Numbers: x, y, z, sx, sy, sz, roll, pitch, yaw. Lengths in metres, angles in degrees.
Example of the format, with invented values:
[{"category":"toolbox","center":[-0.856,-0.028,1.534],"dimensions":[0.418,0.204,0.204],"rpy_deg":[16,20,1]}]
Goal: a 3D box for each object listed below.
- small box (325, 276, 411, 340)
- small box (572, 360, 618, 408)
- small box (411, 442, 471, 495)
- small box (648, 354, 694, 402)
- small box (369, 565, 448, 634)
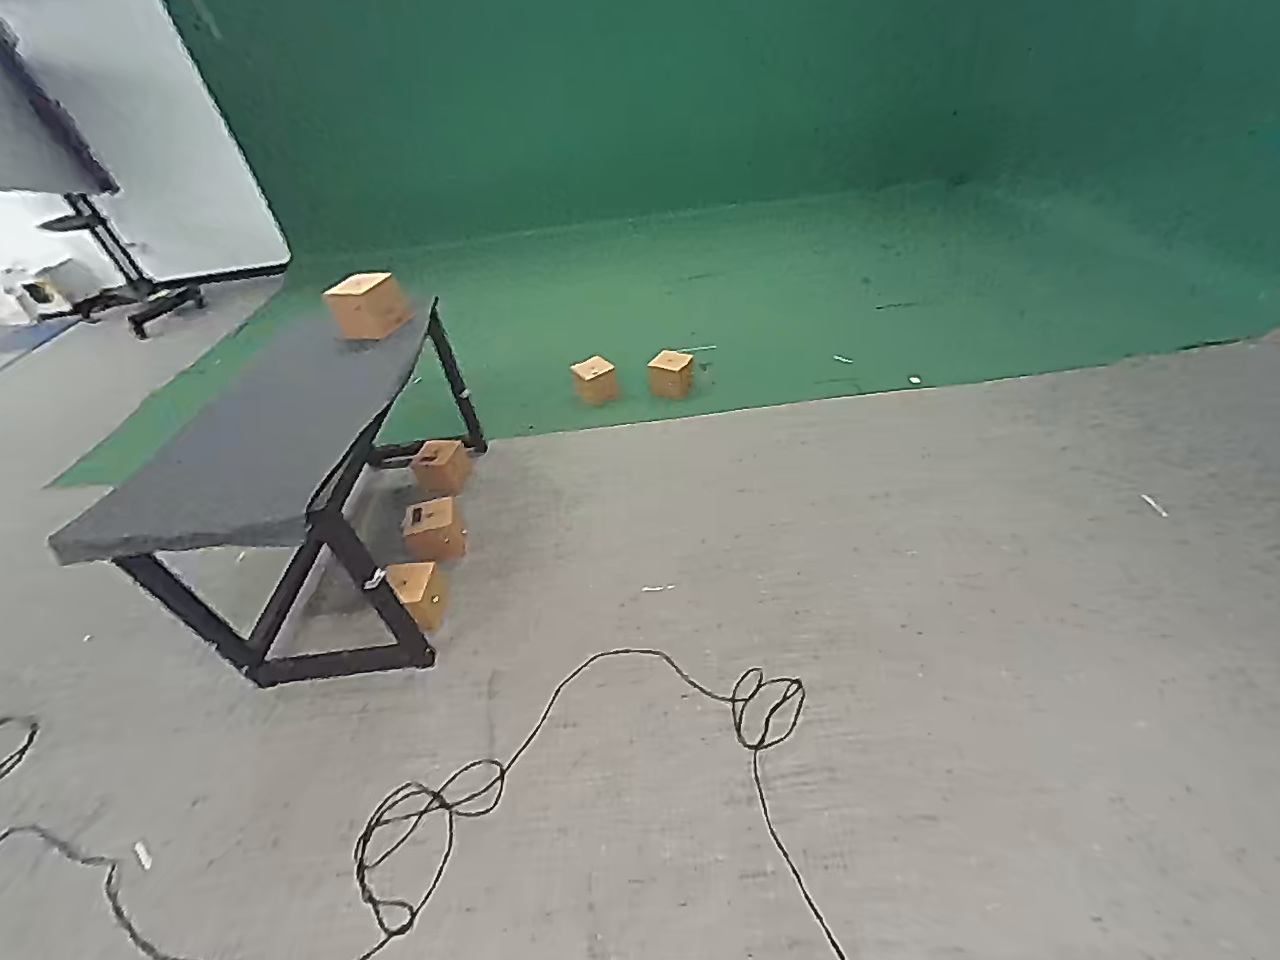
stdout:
[{"category":"small box","center":[-0.950,-0.605,1.908],"dimensions":[0.179,0.176,0.168],"rpy_deg":[5,43,19]},{"category":"small box","center":[-0.230,-0.492,2.785],"dimensions":[0.168,0.176,0.179],"rpy_deg":[-29,44,-22]},{"category":"small box","center":[-0.868,-0.049,2.375],"dimensions":[0.168,0.176,0.179],"rpy_deg":[2,41,11]},{"category":"small box","center":[0.164,-0.515,2.747],"dimensions":[0.179,0.176,0.168],"rpy_deg":[17,46,27]},{"category":"small box","center":[-0.779,0.409,1.844],"dimensions":[0.179,0.176,0.168],"rpy_deg":[-4,41,5]}]
